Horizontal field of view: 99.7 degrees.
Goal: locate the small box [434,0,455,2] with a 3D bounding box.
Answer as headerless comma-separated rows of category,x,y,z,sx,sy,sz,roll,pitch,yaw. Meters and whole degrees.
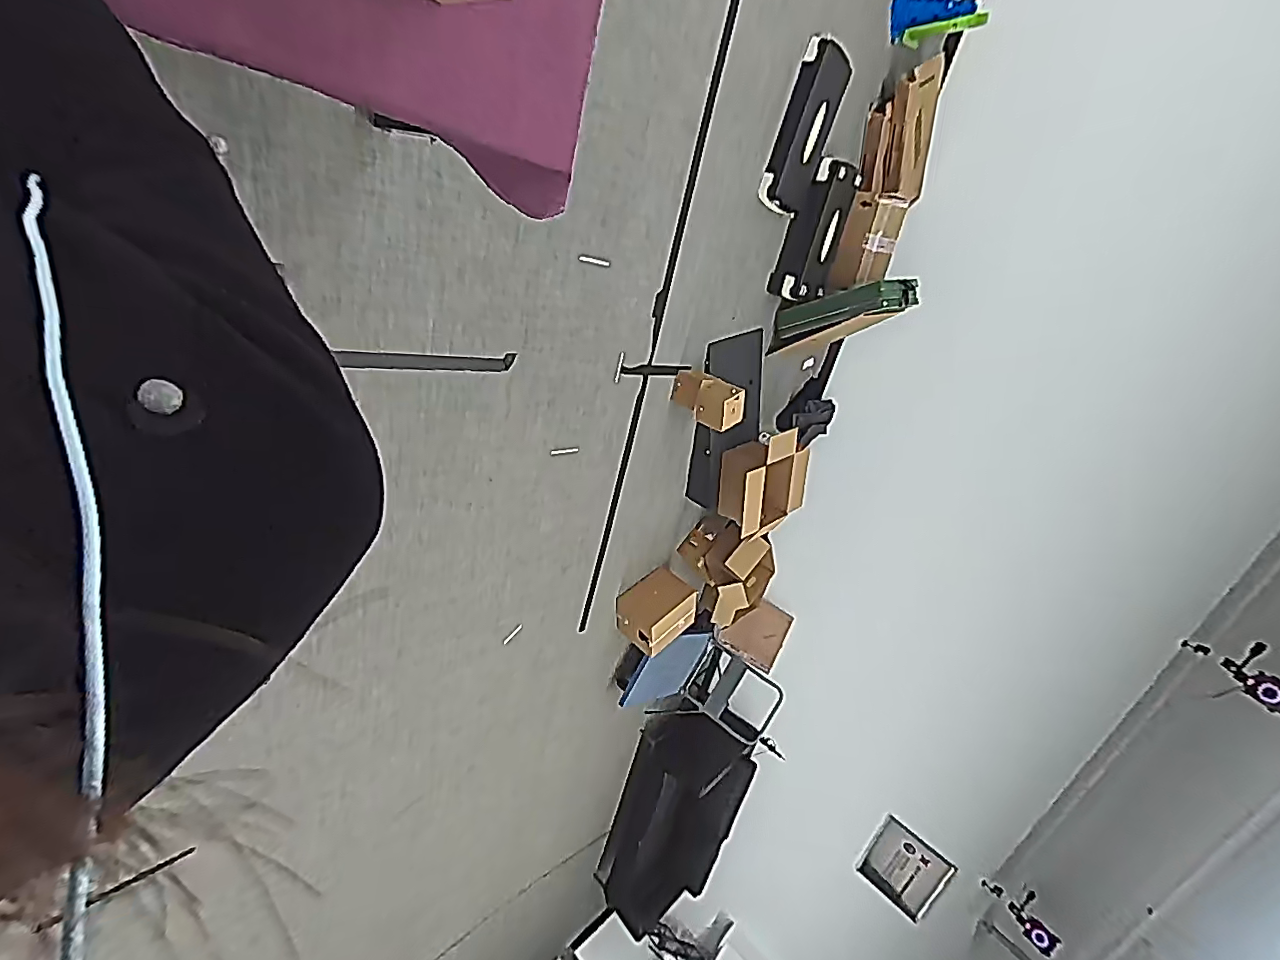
small box,-0.254,-0.688,0.615,0.168,0.176,0.179,-12,125,-47
